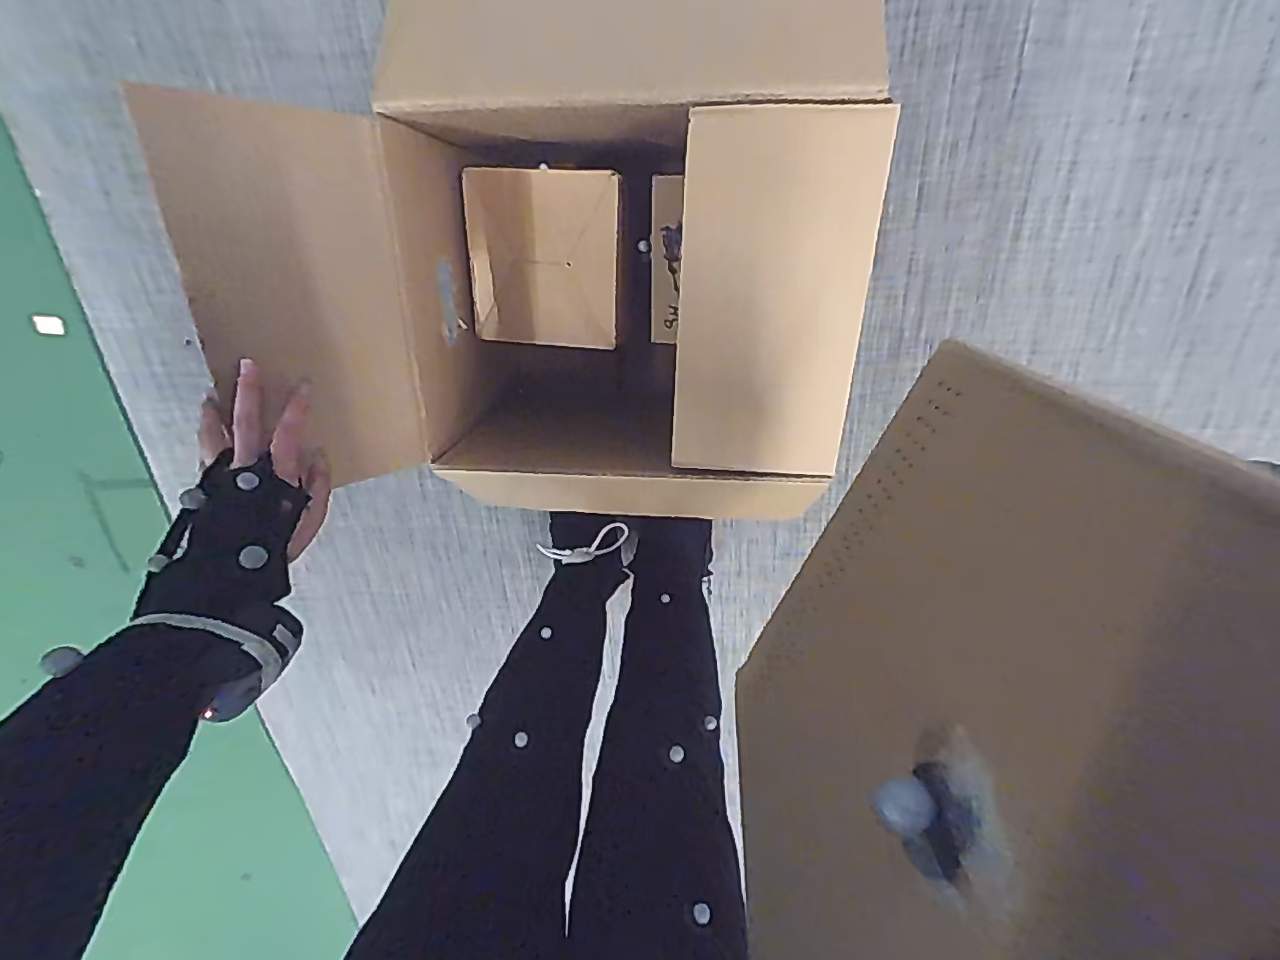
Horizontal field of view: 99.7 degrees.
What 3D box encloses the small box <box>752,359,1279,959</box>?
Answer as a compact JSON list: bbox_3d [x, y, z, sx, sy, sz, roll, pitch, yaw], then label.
[{"bbox_3d":[0.140,0.084,0.154,0.168,0.176,0.179,22,116,-2],"label":"small box"}]
